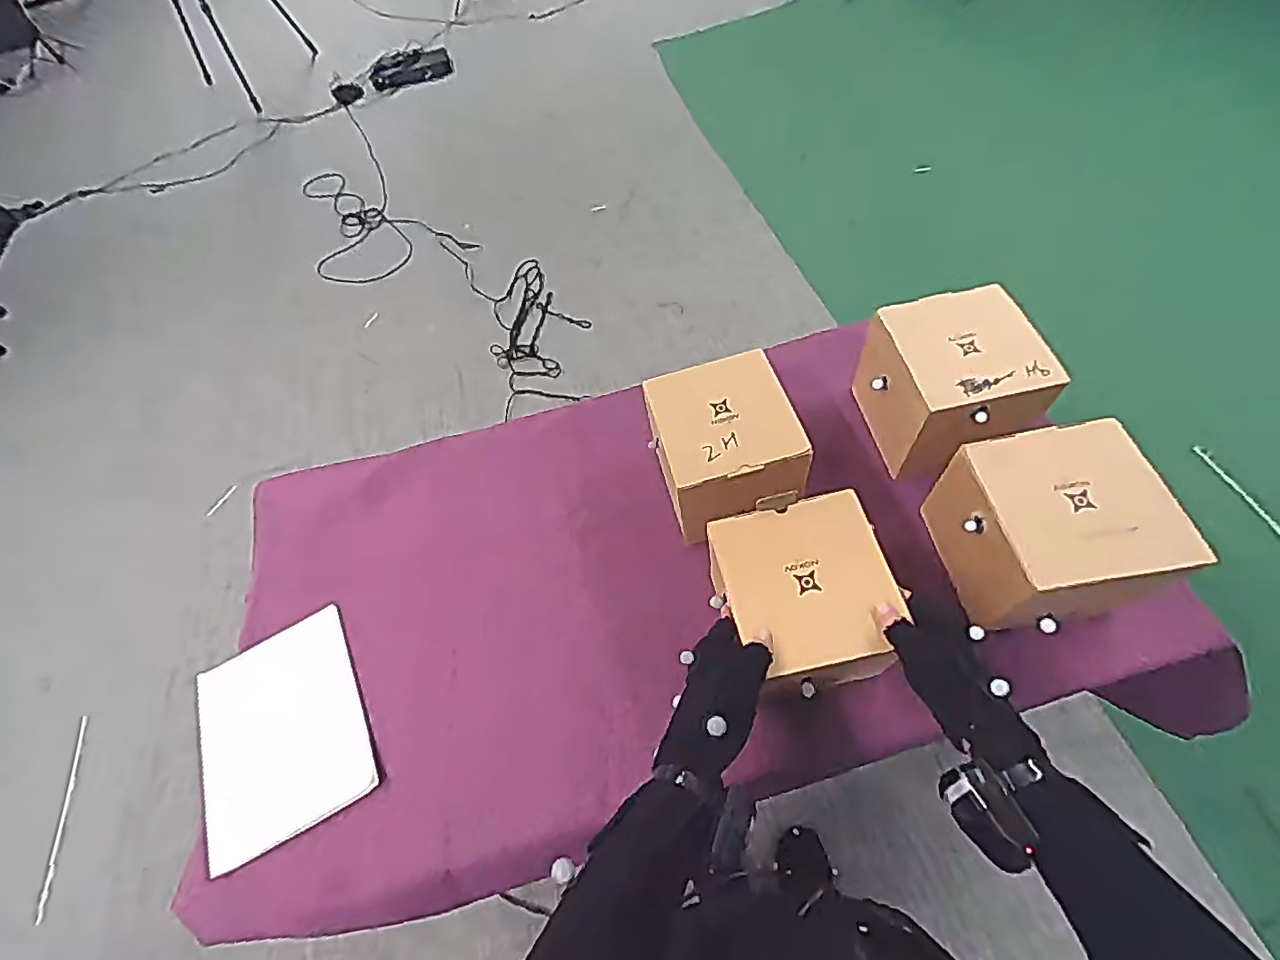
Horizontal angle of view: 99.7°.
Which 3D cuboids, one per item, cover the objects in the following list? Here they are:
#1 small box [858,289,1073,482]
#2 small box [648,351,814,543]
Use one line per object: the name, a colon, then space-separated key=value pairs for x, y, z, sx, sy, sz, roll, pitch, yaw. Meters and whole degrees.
small box: x=0.416 y=-0.123 z=0.733 sx=0.168 sy=0.176 sz=0.179 roll=-11 pitch=59 yaw=3
small box: x=0.114 y=-0.039 z=0.732 sx=0.168 sy=0.176 sz=0.179 roll=-15 pitch=60 yaw=0
